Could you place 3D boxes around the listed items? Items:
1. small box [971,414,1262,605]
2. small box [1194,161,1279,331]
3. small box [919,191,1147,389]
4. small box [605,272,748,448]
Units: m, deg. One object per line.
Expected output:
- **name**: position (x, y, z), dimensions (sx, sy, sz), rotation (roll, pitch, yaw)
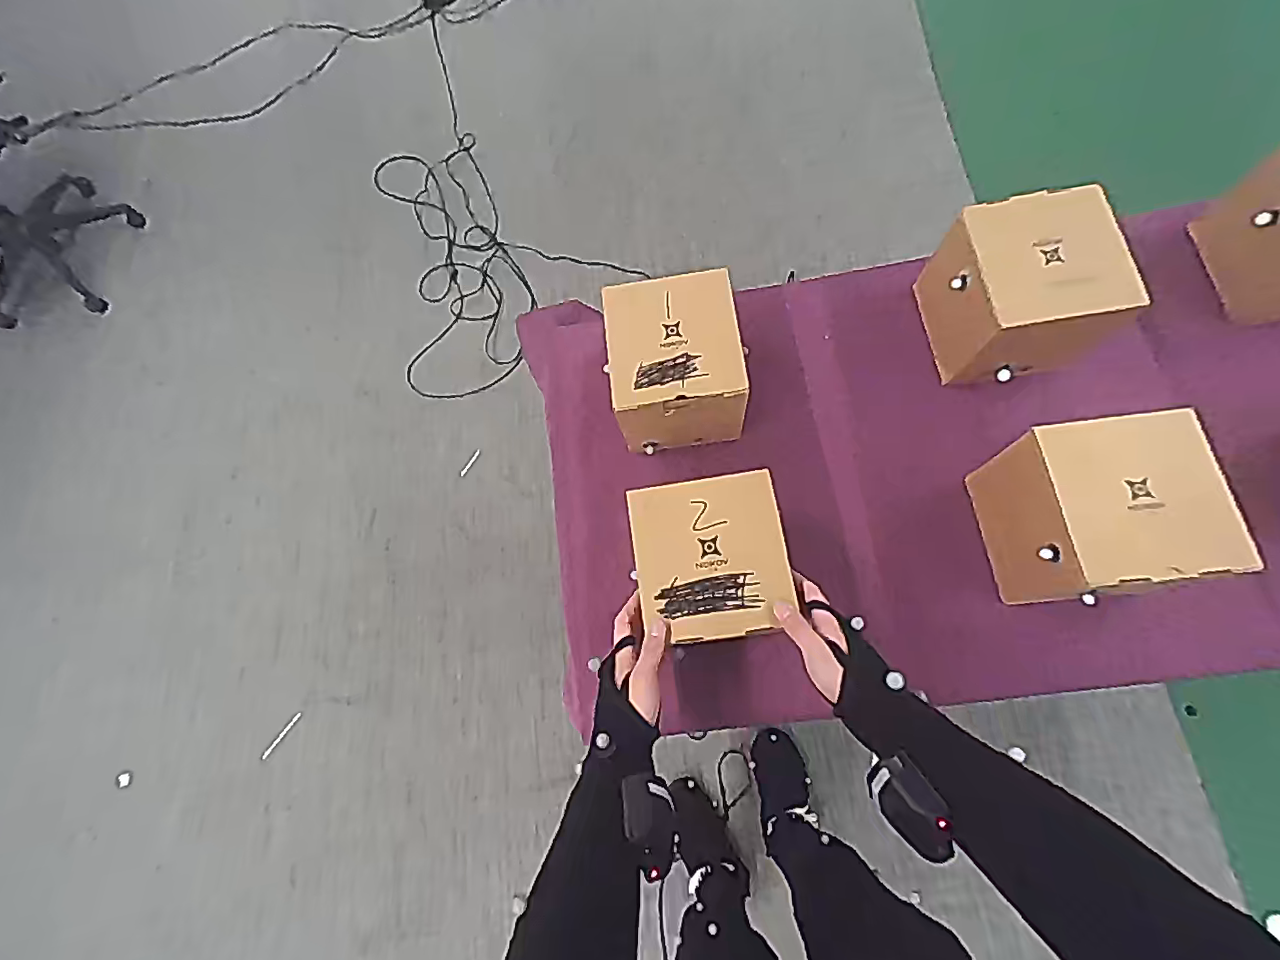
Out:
- **small box**: position (0.523, 0.044, 0.631), dimensions (0.168, 0.176, 0.179), rotation (-7, 71, 5)
- **small box**: position (0.889, -0.320, 0.694), dimensions (0.168, 0.176, 0.179), rotation (-8, 74, 6)
- **small box**: position (0.499, -0.243, 0.723), dimensions (0.168, 0.176, 0.179), rotation (-7, 74, 5)
- **small box**: position (0.051, -0.152, 0.746), dimensions (0.168, 0.176, 0.179), rotation (-7, 73, 4)
